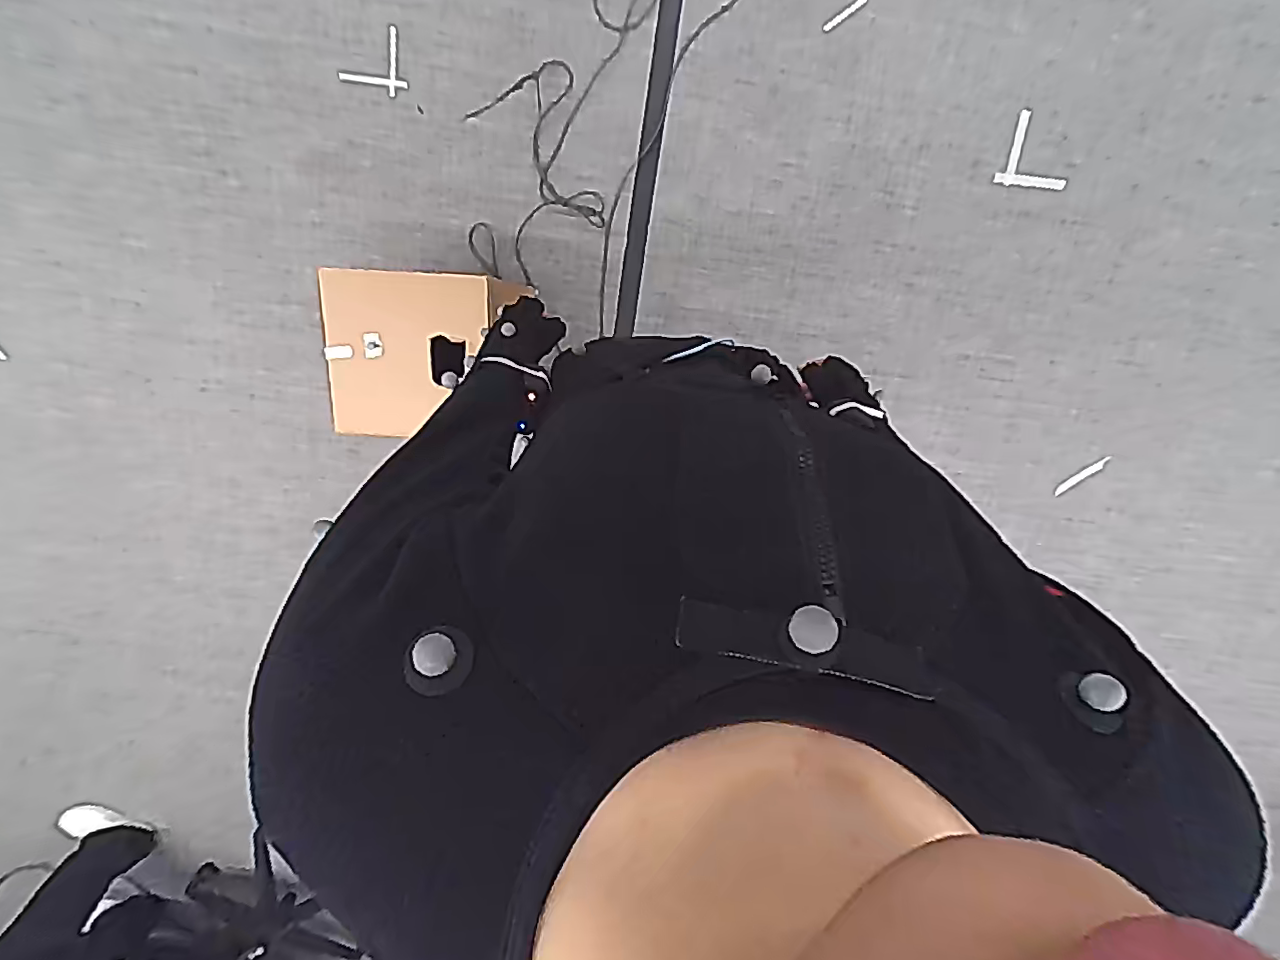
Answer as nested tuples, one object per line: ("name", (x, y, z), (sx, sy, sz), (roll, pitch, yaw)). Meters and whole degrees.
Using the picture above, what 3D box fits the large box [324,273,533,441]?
("large box", (-0.439, -0.290, 1.220), (0.320, 0.408, 0.320), (4, 107, 0))
